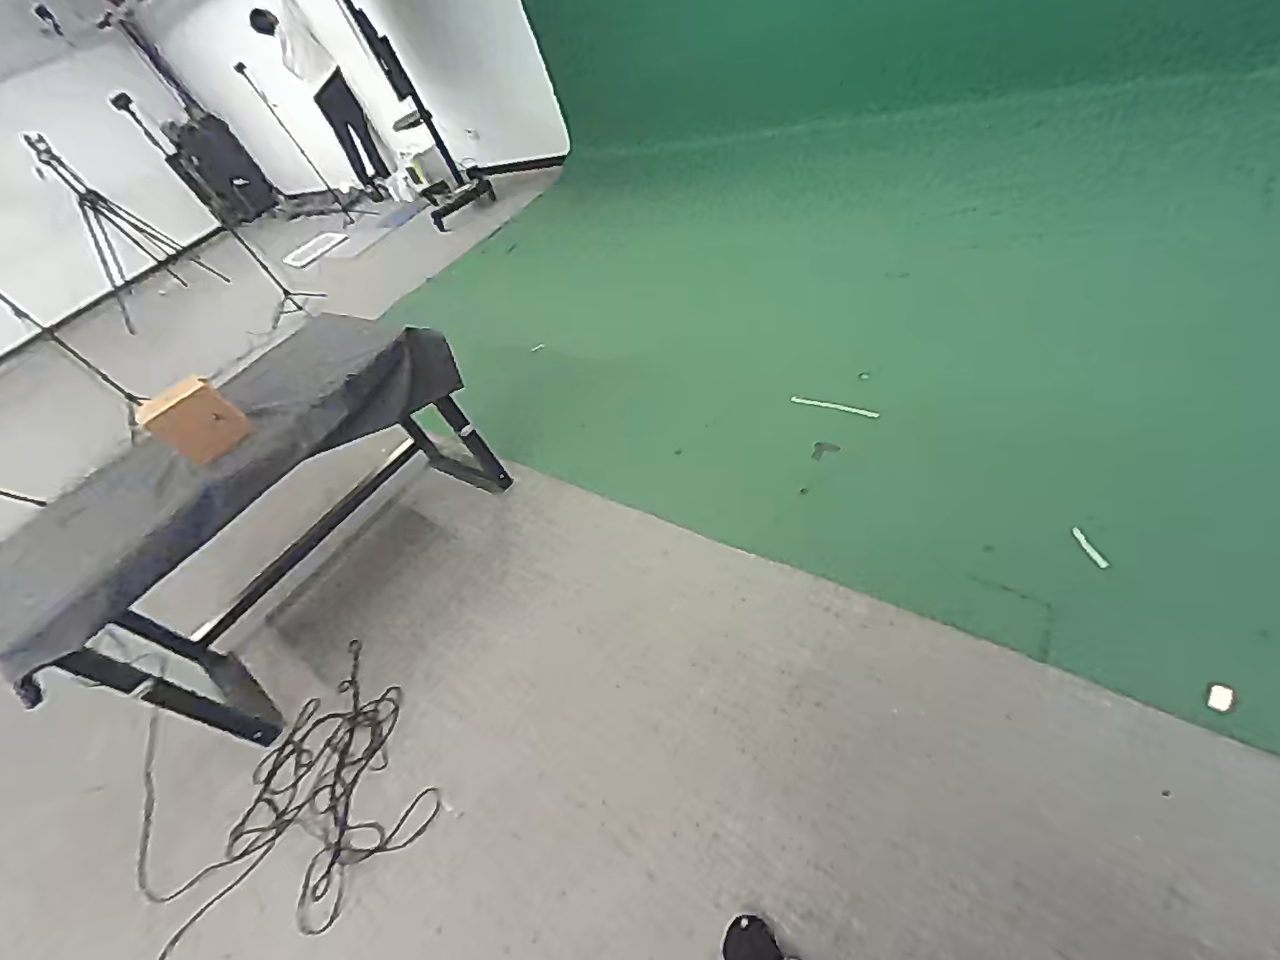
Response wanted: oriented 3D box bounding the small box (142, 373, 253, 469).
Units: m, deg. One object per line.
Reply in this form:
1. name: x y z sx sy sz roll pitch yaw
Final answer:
1. small box: -1.216 -0.164 1.498 0.168 0.176 0.179 26 64 41
